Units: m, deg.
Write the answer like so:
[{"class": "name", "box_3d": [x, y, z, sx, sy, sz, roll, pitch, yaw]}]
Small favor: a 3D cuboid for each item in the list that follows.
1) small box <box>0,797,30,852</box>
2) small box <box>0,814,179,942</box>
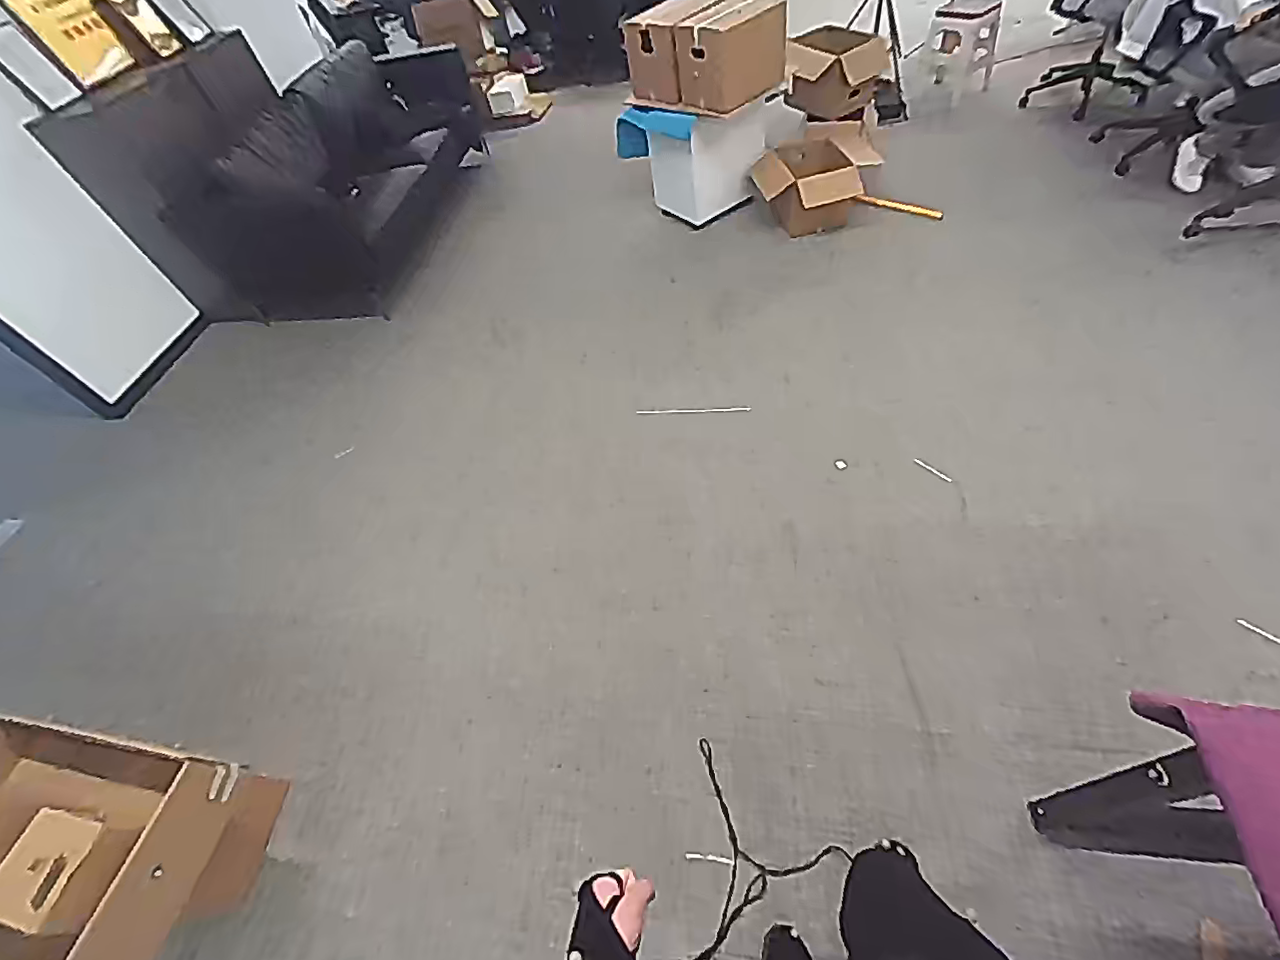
[{"class": "small box", "box_3d": [-1.331, 0.668, 0.998, 0.179, 0.176, 0.168, 4, 53, 12]}, {"class": "small box", "box_3d": [-1.079, 0.777, 1.061, 0.179, 0.176, 0.168, 2, 52, 16]}]
